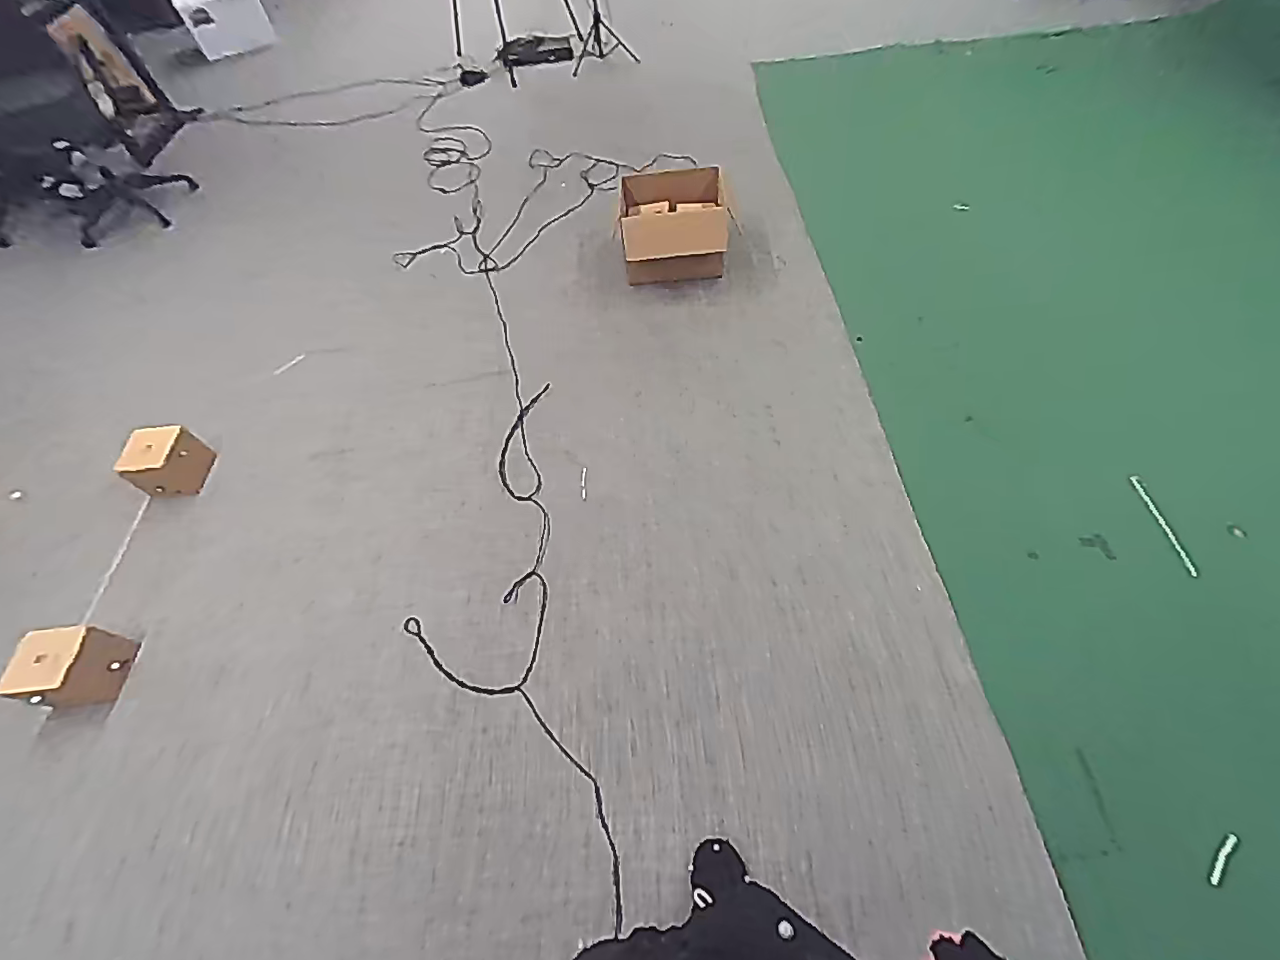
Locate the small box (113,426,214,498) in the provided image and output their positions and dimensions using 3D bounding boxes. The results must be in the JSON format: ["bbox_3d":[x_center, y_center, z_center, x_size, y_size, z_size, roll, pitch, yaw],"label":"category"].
[{"bbox_3d":[-1.604,-0.060,1.837,0.168,0.176,0.179,-6,57,1],"label":"small box"}]

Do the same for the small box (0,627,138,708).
[{"bbox_3d":[-1.538,0.510,1.461,0.179,0.176,0.168,-6,57,1],"label":"small box"}]
